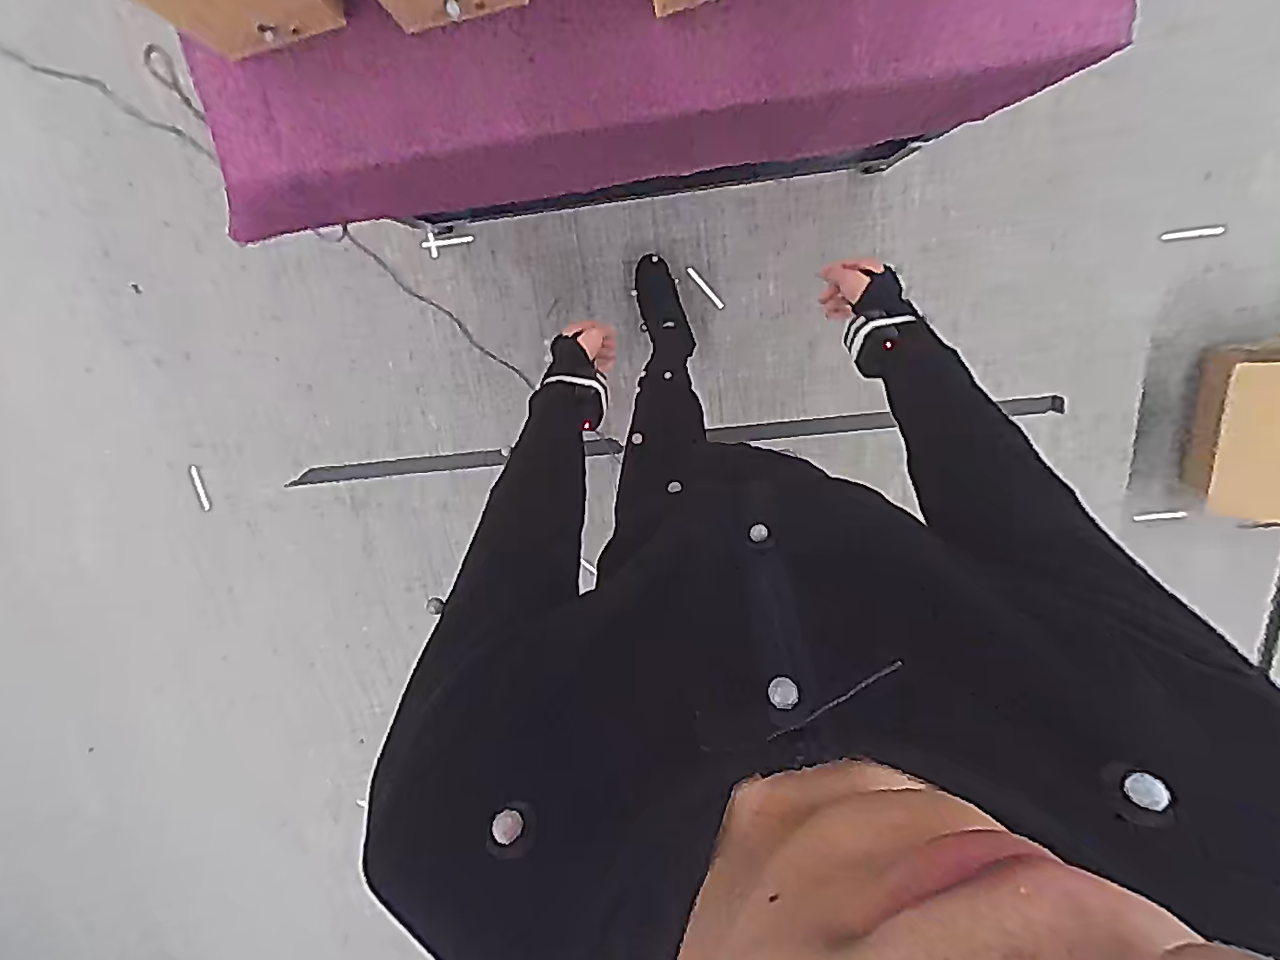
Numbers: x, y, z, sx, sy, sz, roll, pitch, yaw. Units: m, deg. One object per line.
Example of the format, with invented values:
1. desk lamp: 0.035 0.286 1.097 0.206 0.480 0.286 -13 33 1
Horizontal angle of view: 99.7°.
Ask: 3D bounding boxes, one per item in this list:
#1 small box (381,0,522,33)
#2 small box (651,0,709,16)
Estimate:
1. small box: -0.237 -0.632 0.575 0.168 0.176 0.179 -11 108 4
2. small box: 0.068 -0.652 0.566 0.168 0.176 0.179 -17 106 7
